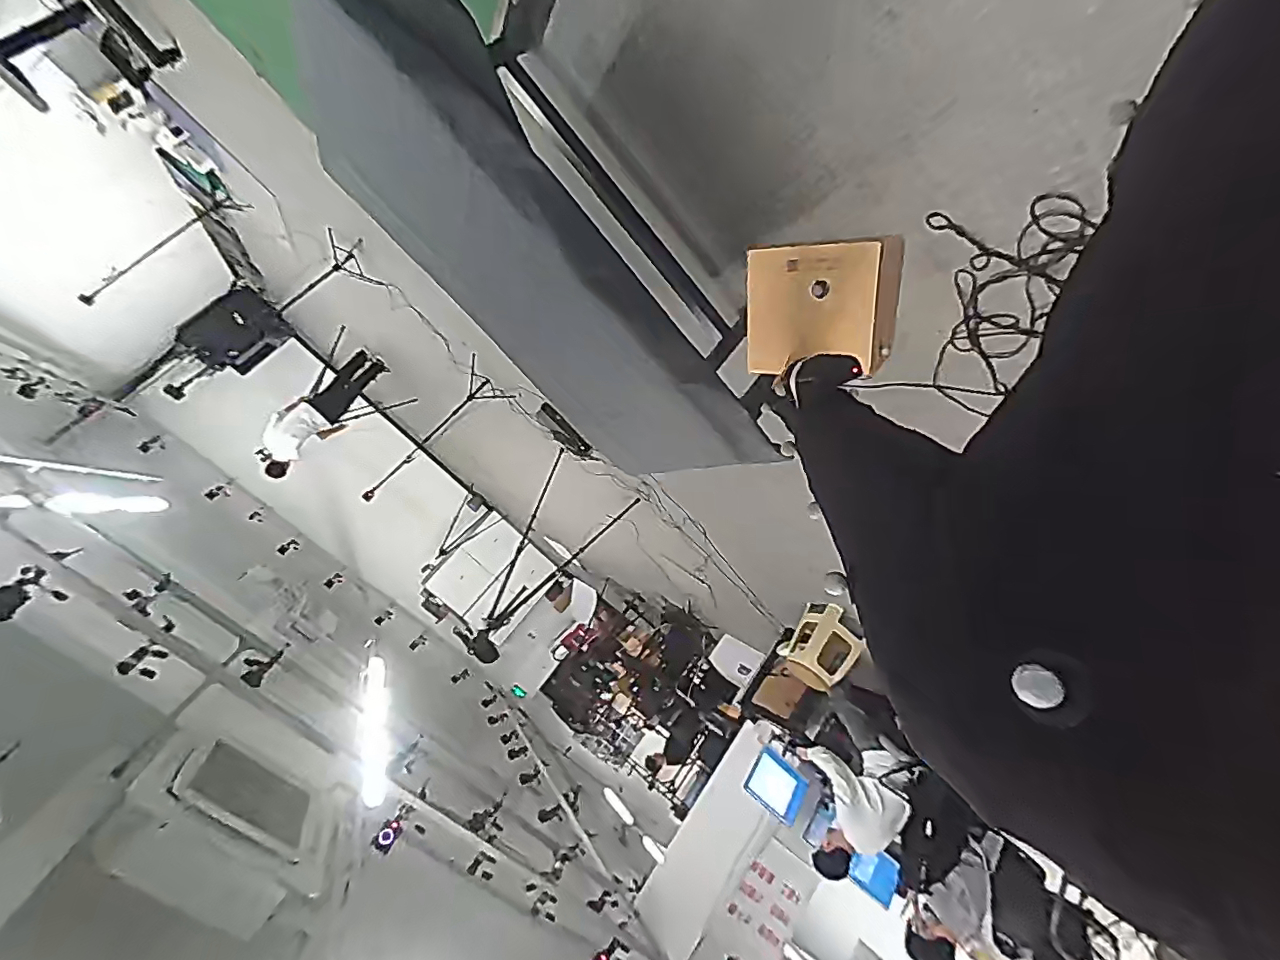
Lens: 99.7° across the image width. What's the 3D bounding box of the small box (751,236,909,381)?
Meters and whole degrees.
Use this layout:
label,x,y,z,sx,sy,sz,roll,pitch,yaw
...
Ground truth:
label,x,y,z,sx,sy,sz,roll,pitch,yaw
small box,0.268,-0.248,0.761,0.168,0.179,0.176,12,118,31
